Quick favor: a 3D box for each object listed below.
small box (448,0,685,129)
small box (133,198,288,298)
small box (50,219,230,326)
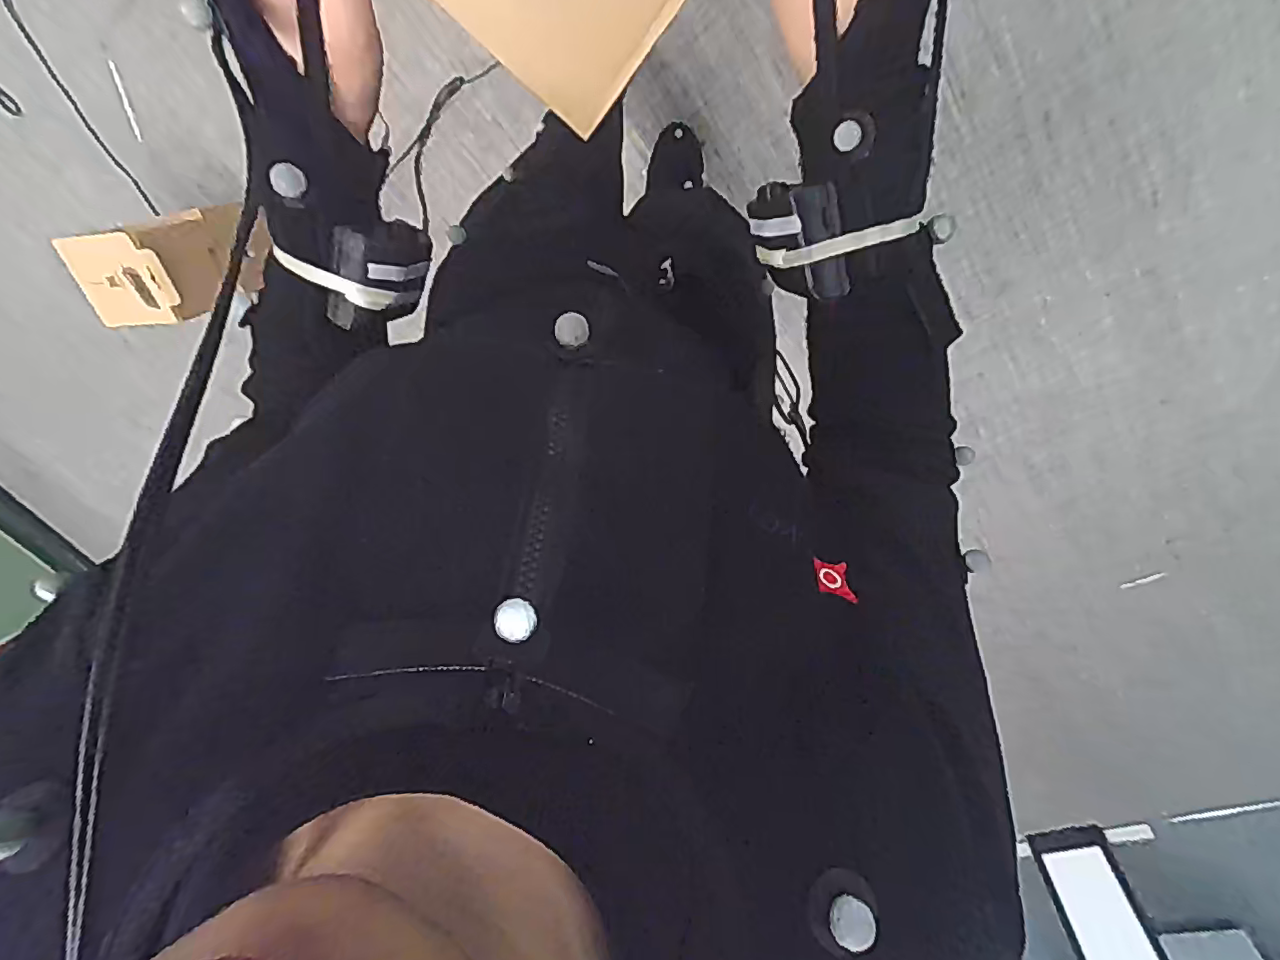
[{"bbox_3d":[-0.032,-0.330,0.263,0.168,0.176,0.179,30,132,-28],"label":"small box"},{"bbox_3d":[-0.943,-0.512,1.209,0.168,0.176,0.179,-5,123,11],"label":"small box"},{"bbox_3d":[-0.971,-0.416,1.077,0.179,0.176,0.168,0,123,9],"label":"small box"}]
